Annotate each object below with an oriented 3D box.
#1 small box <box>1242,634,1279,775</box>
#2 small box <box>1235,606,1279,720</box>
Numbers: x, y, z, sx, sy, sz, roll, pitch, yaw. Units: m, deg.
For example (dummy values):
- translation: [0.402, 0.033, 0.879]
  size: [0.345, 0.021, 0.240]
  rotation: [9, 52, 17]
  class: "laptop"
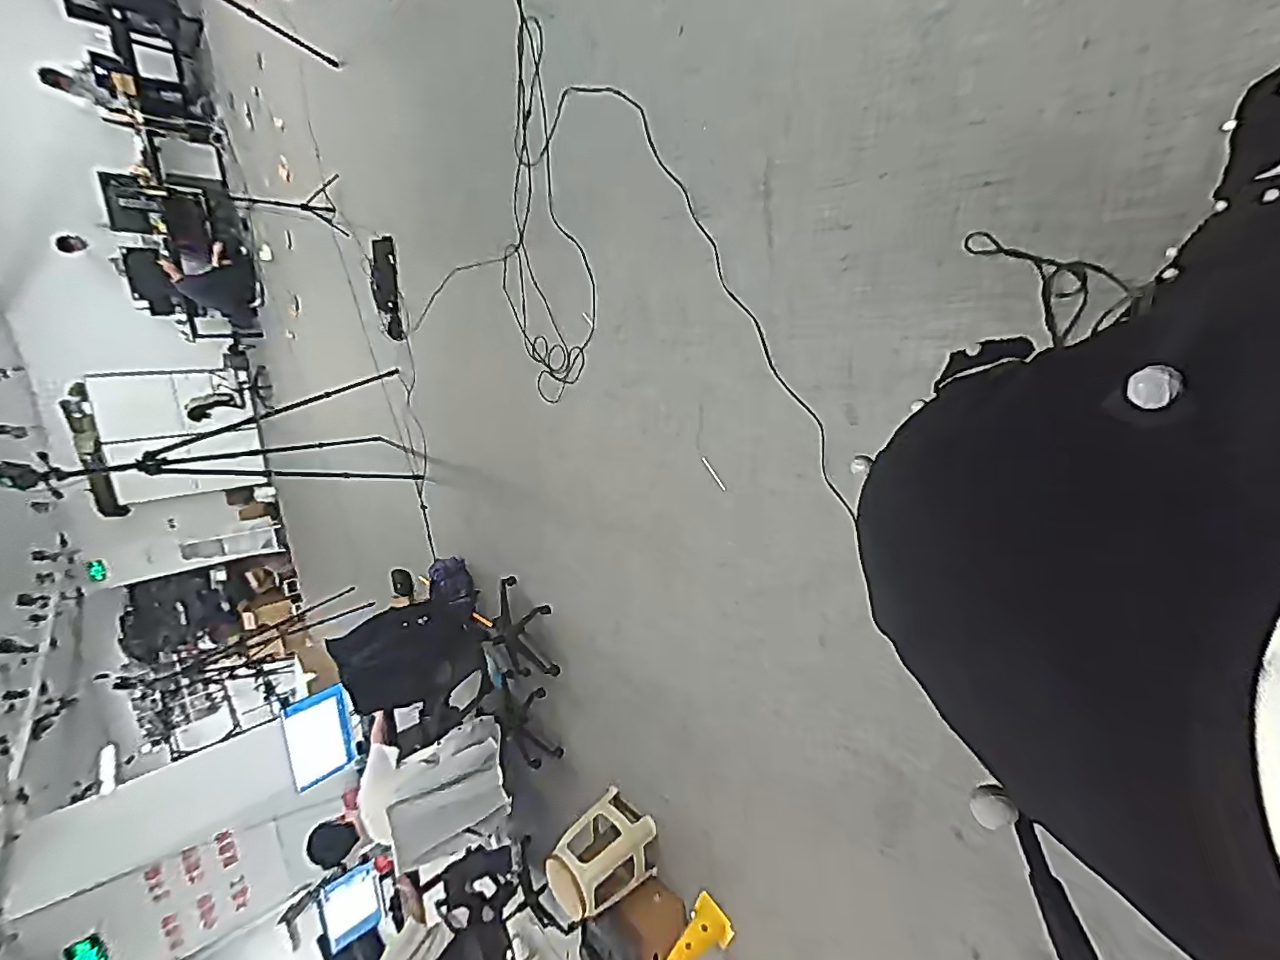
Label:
- translation: [1.076, 0.366, 0.837]
  size: [0.168, 0.176, 0.179]
  rotation: [16, 113, 44]
  class: "small box"
- translation: [1.197, 0.353, 0.950]
  size: [0.168, 0.176, 0.179]
  rotation: [19, 115, 42]
  class: "small box"
